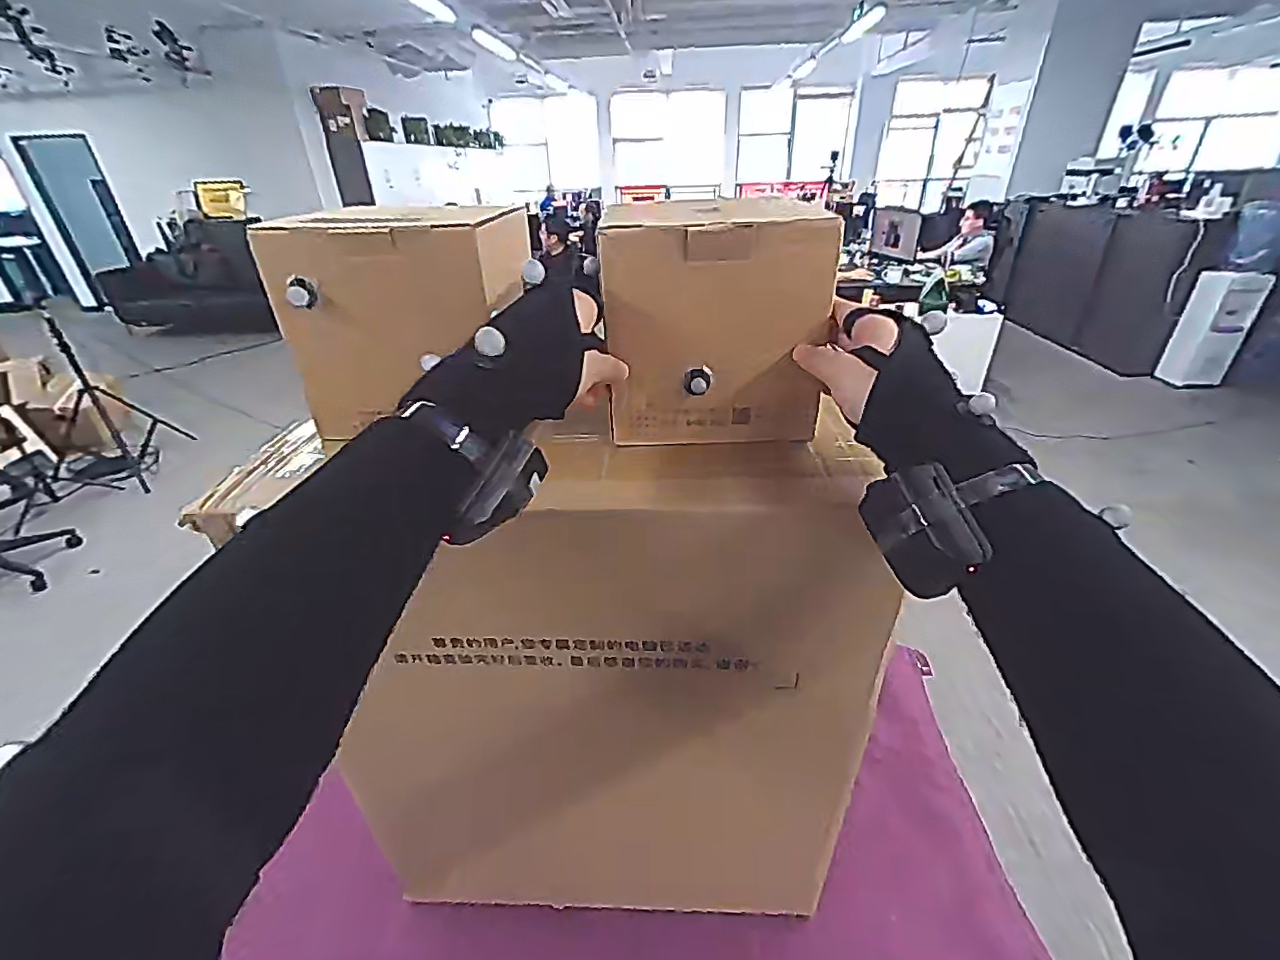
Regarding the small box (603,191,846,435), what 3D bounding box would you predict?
[{"bbox_3d":[0.059,-0.150,0.471,0.168,0.176,0.179,-2,32,1],"label":"small box"}]
